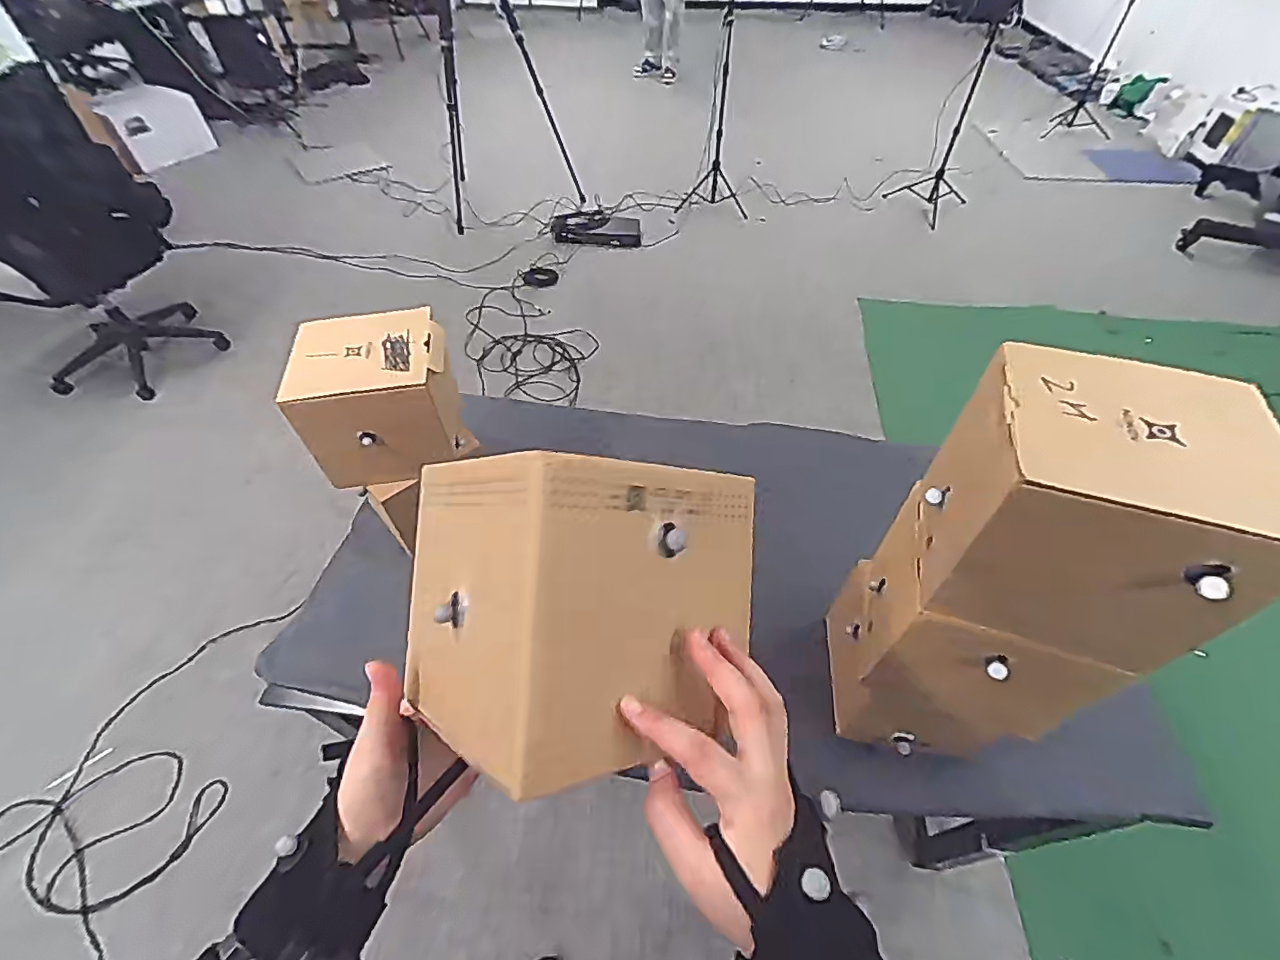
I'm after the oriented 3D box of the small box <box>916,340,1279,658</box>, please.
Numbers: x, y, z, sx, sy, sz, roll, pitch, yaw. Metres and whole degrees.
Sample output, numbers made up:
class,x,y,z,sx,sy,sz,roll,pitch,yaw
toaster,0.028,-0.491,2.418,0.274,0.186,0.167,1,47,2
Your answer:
class,x,y,z,sx,sy,sz,roll,pitch,yaw
small box,0.345,0.018,0.431,0.179,0.176,0.168,15,50,14

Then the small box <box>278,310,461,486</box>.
class,x,y,z,sx,sy,sz,roll,pitch,yaw
small box,-0.357,-0.112,0.758,0.179,0.176,0.168,-9,51,-7

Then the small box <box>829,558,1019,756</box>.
class,x,y,z,sx,sy,sz,roll,pitch,yaw
small box,0.347,0.224,0.685,0.168,0.176,0.179,5,50,6

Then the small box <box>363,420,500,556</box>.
class,x,y,z,sx,sy,sz,roll,pitch,yaw
small box,-0.356,-0.010,0.887,0.168,0.176,0.179,-35,58,-26

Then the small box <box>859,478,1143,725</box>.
class,x,y,z,sx,sy,sz,roll,pitch,yaw
small box,0.343,0.128,0.554,0.179,0.176,0.168,13,50,14
